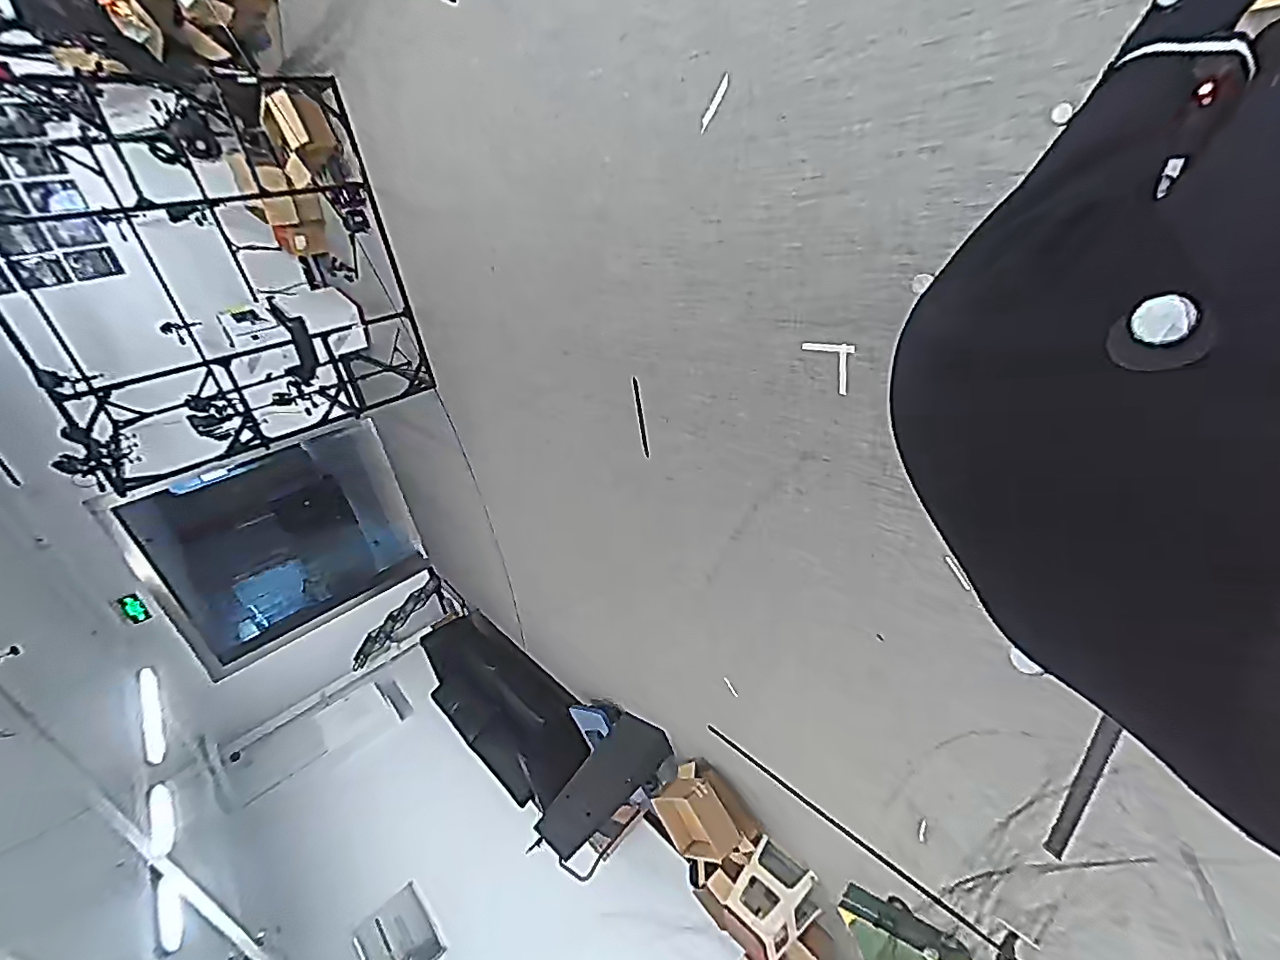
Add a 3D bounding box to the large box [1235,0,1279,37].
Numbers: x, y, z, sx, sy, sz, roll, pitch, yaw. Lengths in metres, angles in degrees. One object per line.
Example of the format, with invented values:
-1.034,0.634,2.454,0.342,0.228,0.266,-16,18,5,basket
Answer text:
1.000,-0.738,0.588,0.408,0.320,0.320,23,131,43,large box
